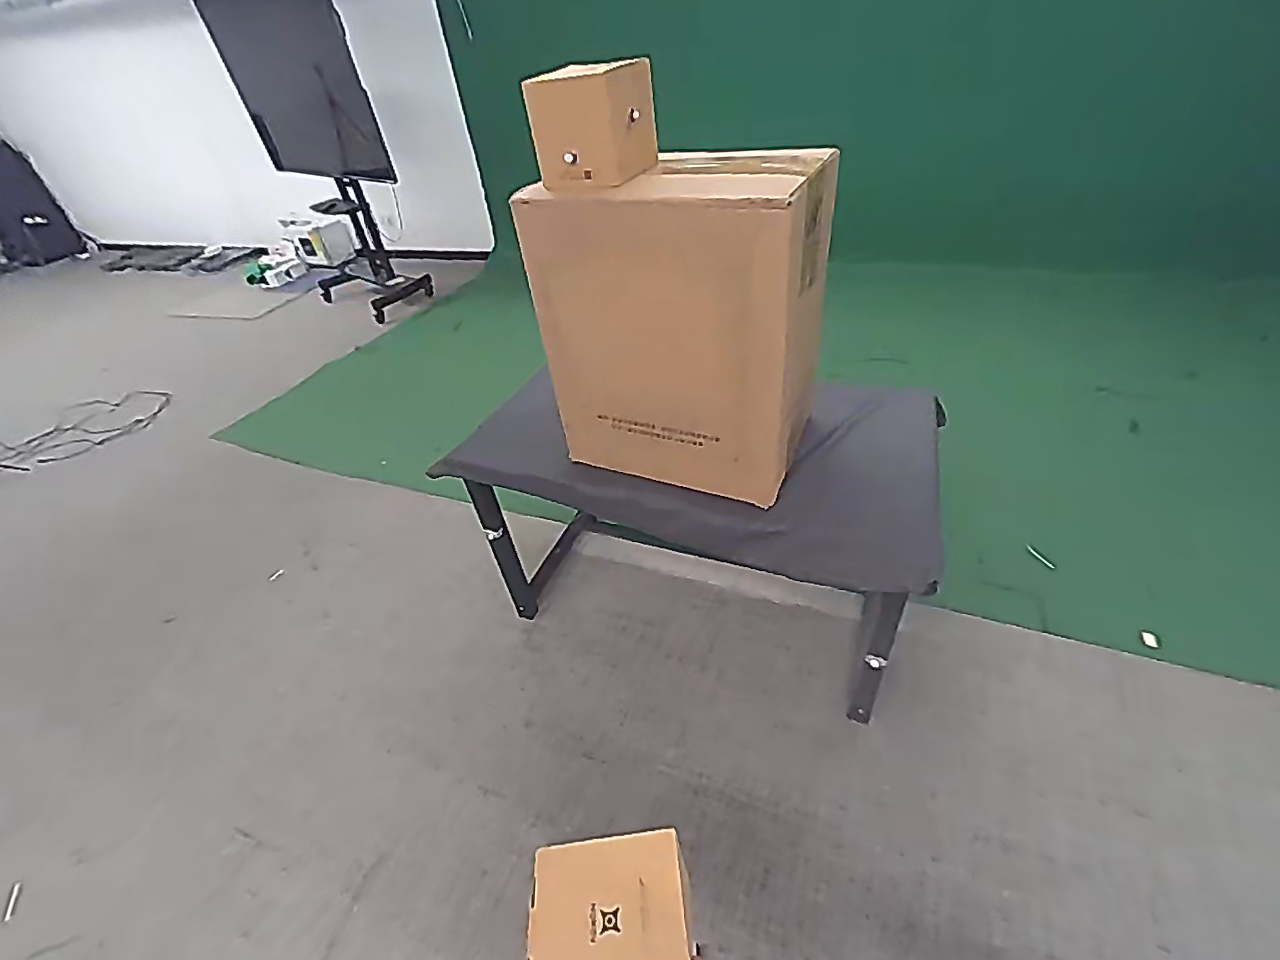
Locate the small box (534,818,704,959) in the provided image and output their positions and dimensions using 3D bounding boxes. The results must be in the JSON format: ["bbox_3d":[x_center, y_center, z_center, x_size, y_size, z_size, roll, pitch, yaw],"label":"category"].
[{"bbox_3d":[-0.019,0.541,0.650,0.179,0.176,0.168,-9,38,0],"label":"small box"}]

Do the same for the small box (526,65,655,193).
[{"bbox_3d":[-0.081,-0.651,1.007,0.168,0.176,0.179,12,46,24],"label":"small box"}]
